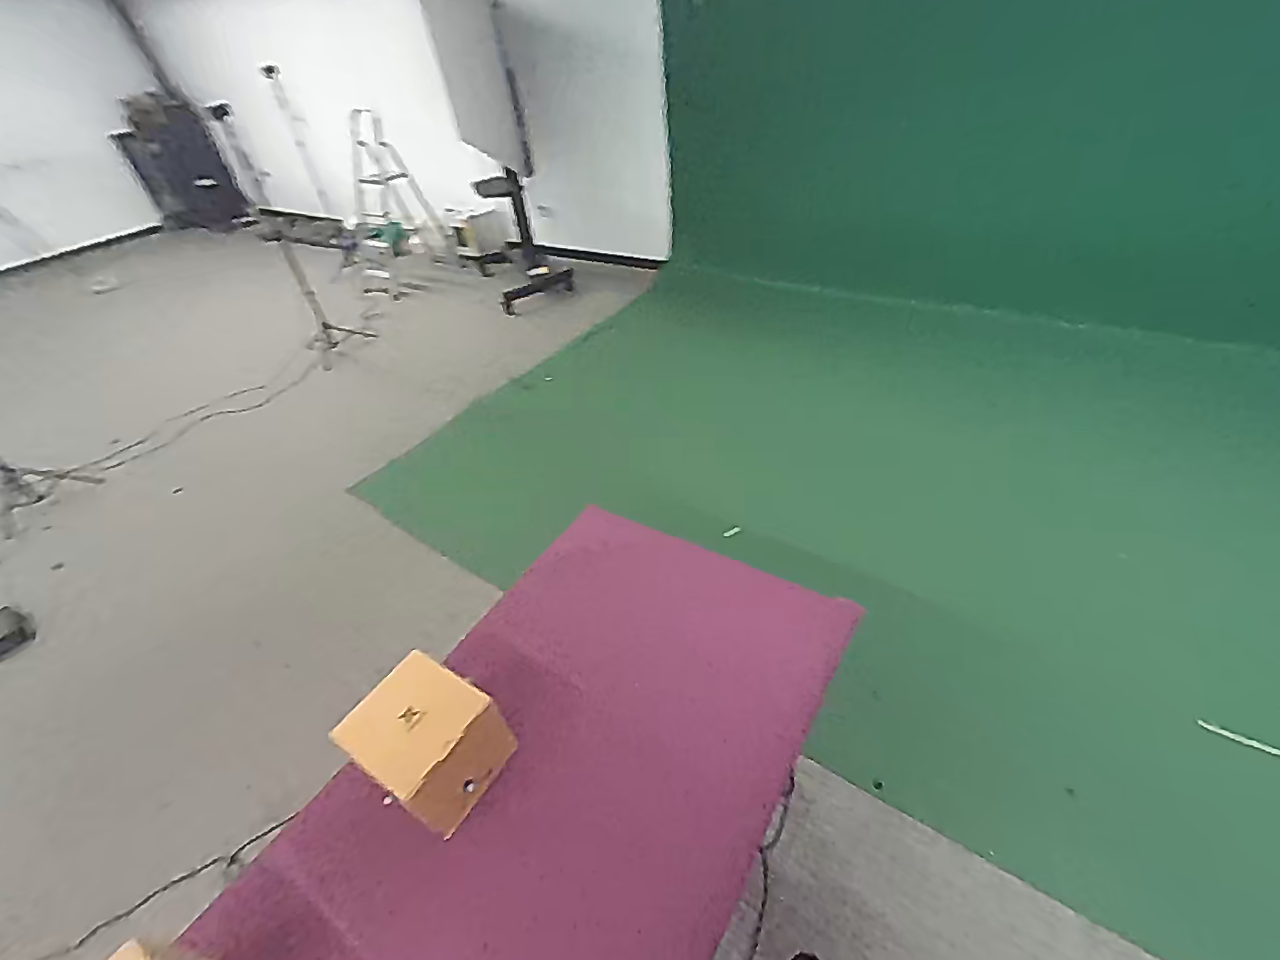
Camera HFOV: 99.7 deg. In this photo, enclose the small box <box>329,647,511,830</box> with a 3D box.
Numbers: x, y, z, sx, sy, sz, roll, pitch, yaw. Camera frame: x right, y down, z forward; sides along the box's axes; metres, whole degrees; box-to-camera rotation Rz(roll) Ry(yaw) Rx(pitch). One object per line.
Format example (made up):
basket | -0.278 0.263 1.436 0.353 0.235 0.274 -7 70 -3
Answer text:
small box | -0.331 0.403 0.842 0.179 0.176 0.168 20 47 26
